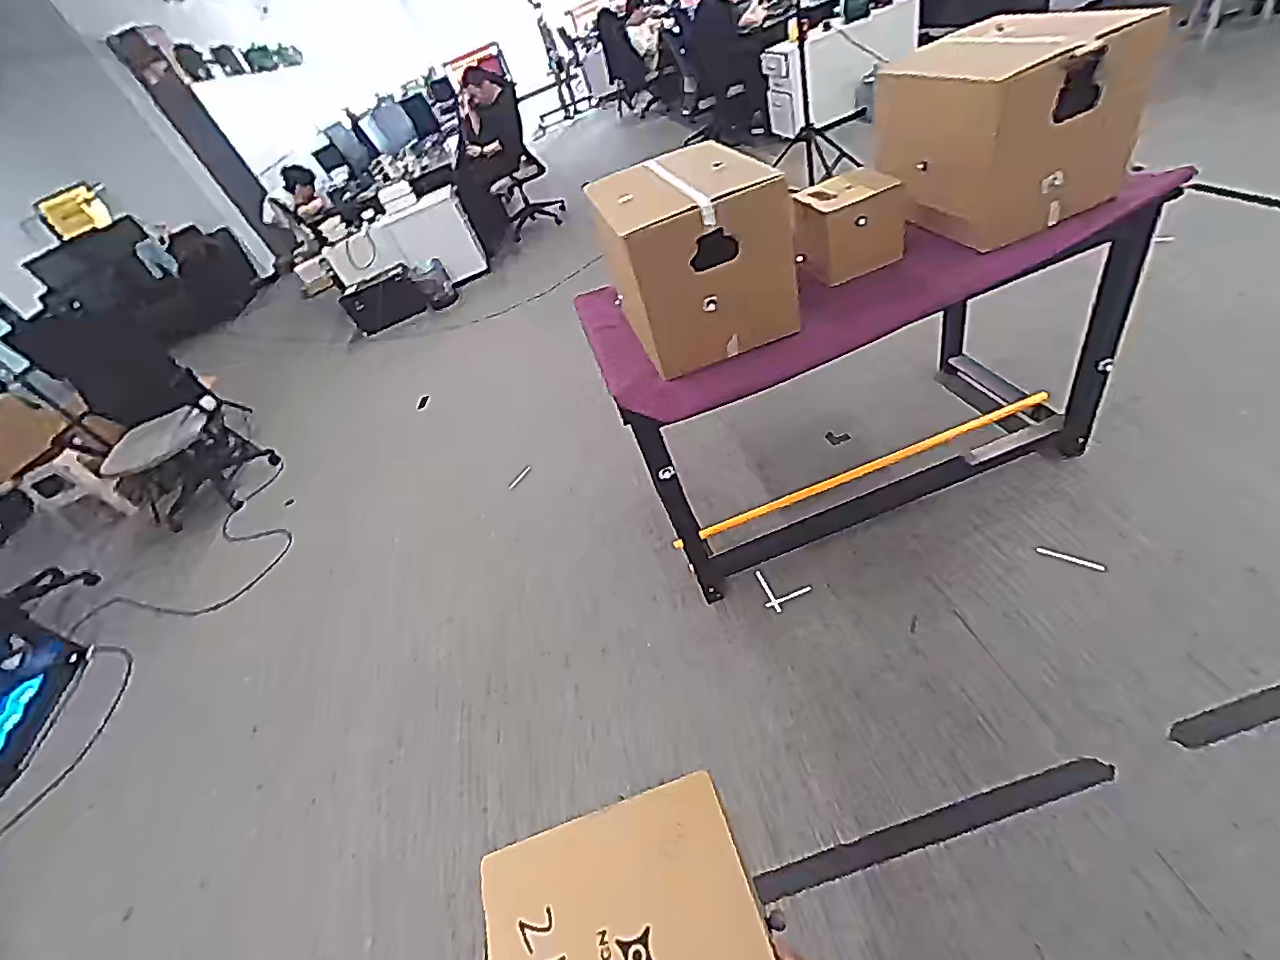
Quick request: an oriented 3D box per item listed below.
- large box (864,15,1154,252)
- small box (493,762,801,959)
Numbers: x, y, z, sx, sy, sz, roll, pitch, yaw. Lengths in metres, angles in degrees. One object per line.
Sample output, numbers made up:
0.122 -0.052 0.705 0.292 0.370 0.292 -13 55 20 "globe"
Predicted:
0.745 -0.746 1.172 0.320 0.320 0.408 -23 40 0 "large box"
0.016 0.333 0.383 0.179 0.176 0.168 -20 46 -2 "small box"
